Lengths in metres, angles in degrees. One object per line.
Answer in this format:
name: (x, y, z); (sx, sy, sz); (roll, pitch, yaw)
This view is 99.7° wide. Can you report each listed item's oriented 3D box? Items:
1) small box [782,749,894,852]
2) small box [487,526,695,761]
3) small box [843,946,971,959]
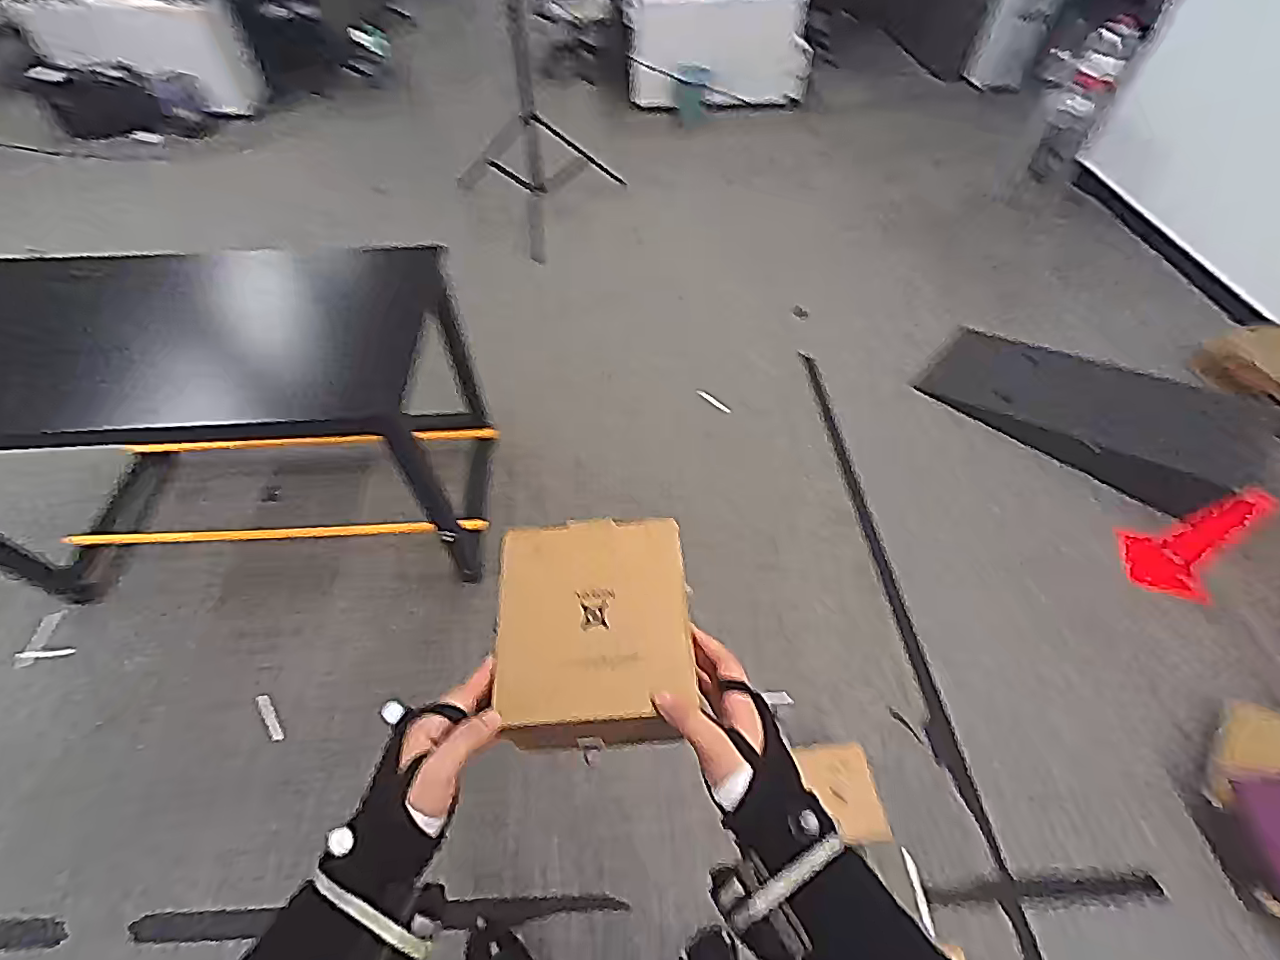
small box: (0.428, 0.715, 1.201); (0.168, 0.176, 0.179); (-4, 53, -3)
small box: (-0.044, 0.164, 0.533); (0.168, 0.176, 0.179); (-4, 56, -2)
small box: (0.450, 0.877, 0.877); (0.168, 0.176, 0.179); (-2, 54, -1)
